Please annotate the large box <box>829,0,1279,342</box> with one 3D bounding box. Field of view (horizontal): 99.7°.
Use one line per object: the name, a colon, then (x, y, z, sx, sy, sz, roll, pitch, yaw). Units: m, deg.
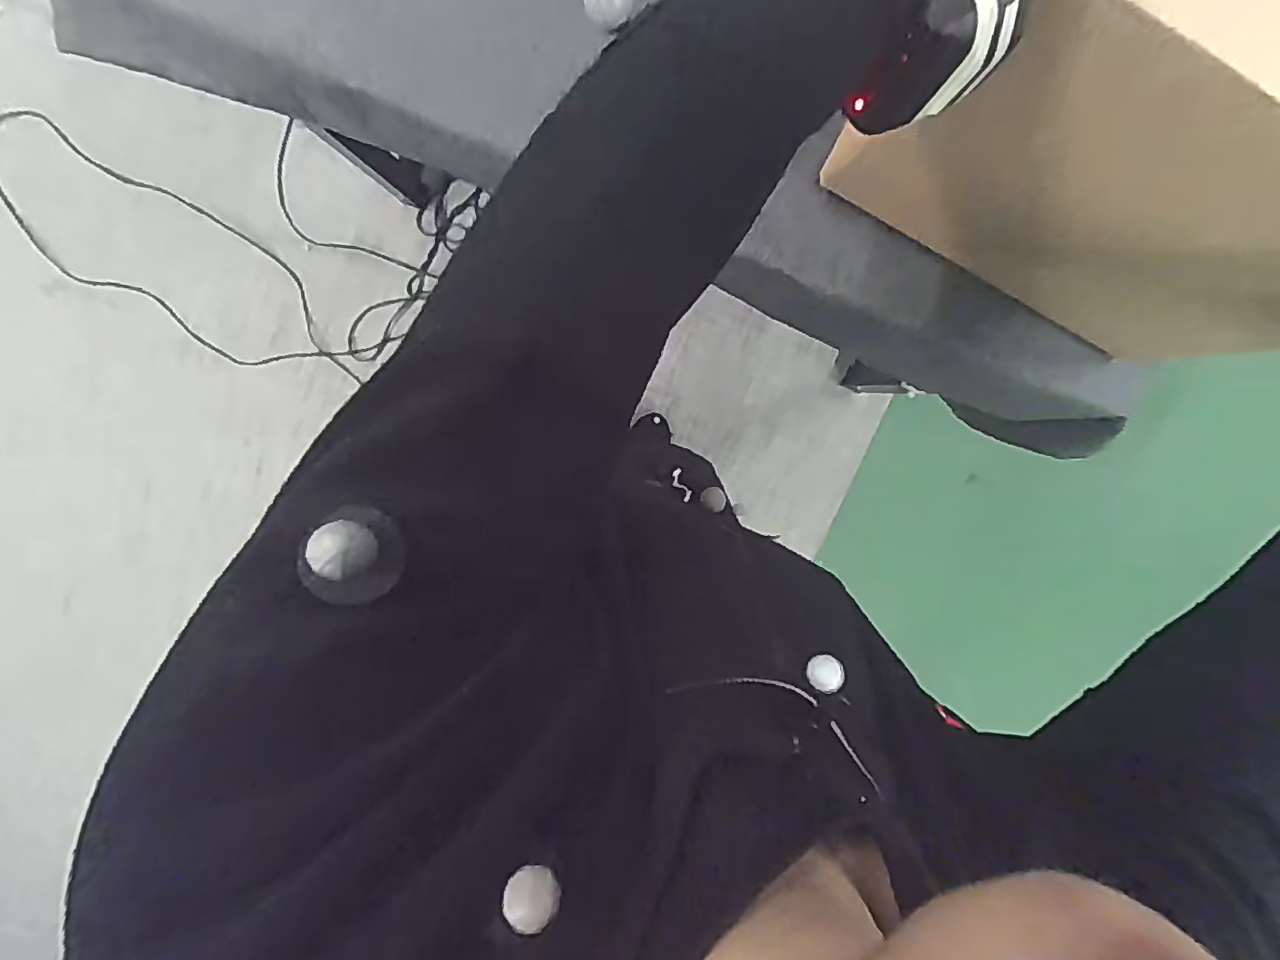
large box: (0.434, -0.339, 0.406, 0.408, 0.320, 0.320, 25, 99, -8)
